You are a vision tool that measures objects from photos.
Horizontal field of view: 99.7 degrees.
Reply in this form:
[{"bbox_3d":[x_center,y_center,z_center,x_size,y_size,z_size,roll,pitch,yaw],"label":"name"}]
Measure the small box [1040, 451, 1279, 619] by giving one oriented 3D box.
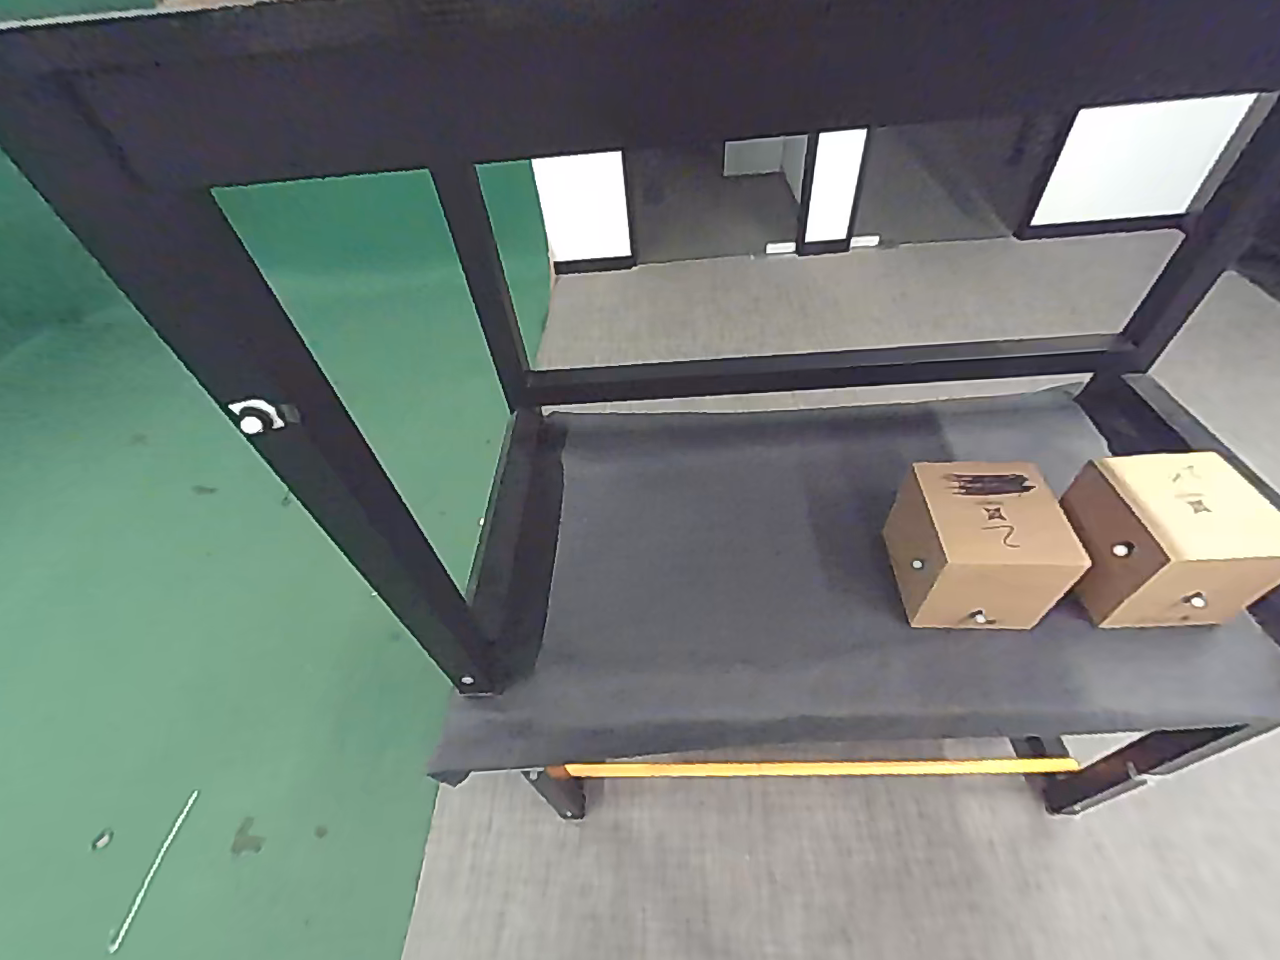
[{"bbox_3d":[0.714,0.082,0.754,0.168,0.176,0.179,-3,47,3],"label":"small box"}]
